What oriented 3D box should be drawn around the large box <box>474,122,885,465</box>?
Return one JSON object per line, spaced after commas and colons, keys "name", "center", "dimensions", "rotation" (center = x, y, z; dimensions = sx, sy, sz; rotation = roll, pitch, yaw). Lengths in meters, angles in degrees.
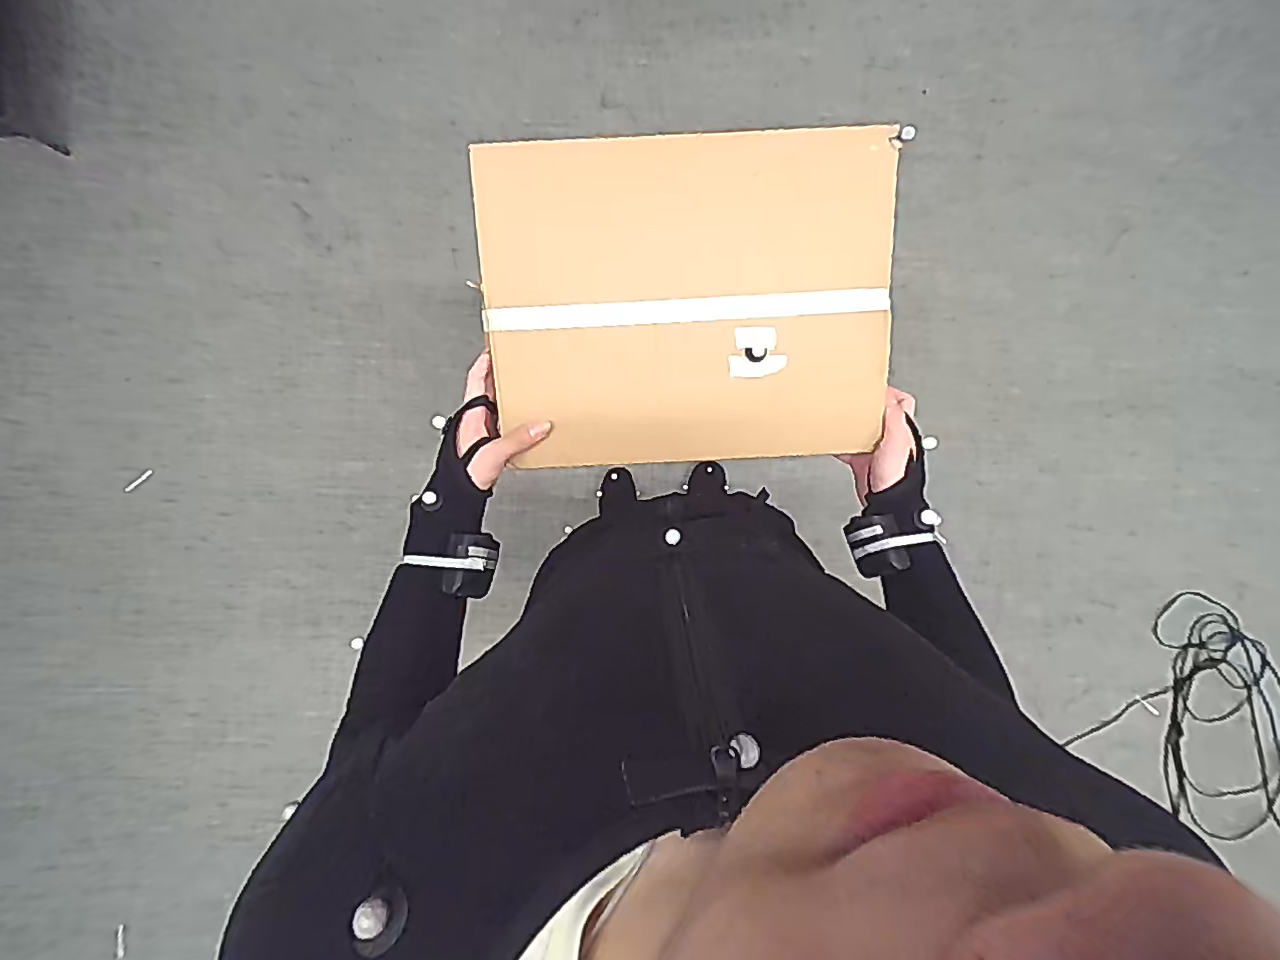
{"name": "large box", "center": [0.043, -0.213, 0.694], "dimensions": [0.408, 0.320, 0.320], "rotation": [-4, 104, -1]}
